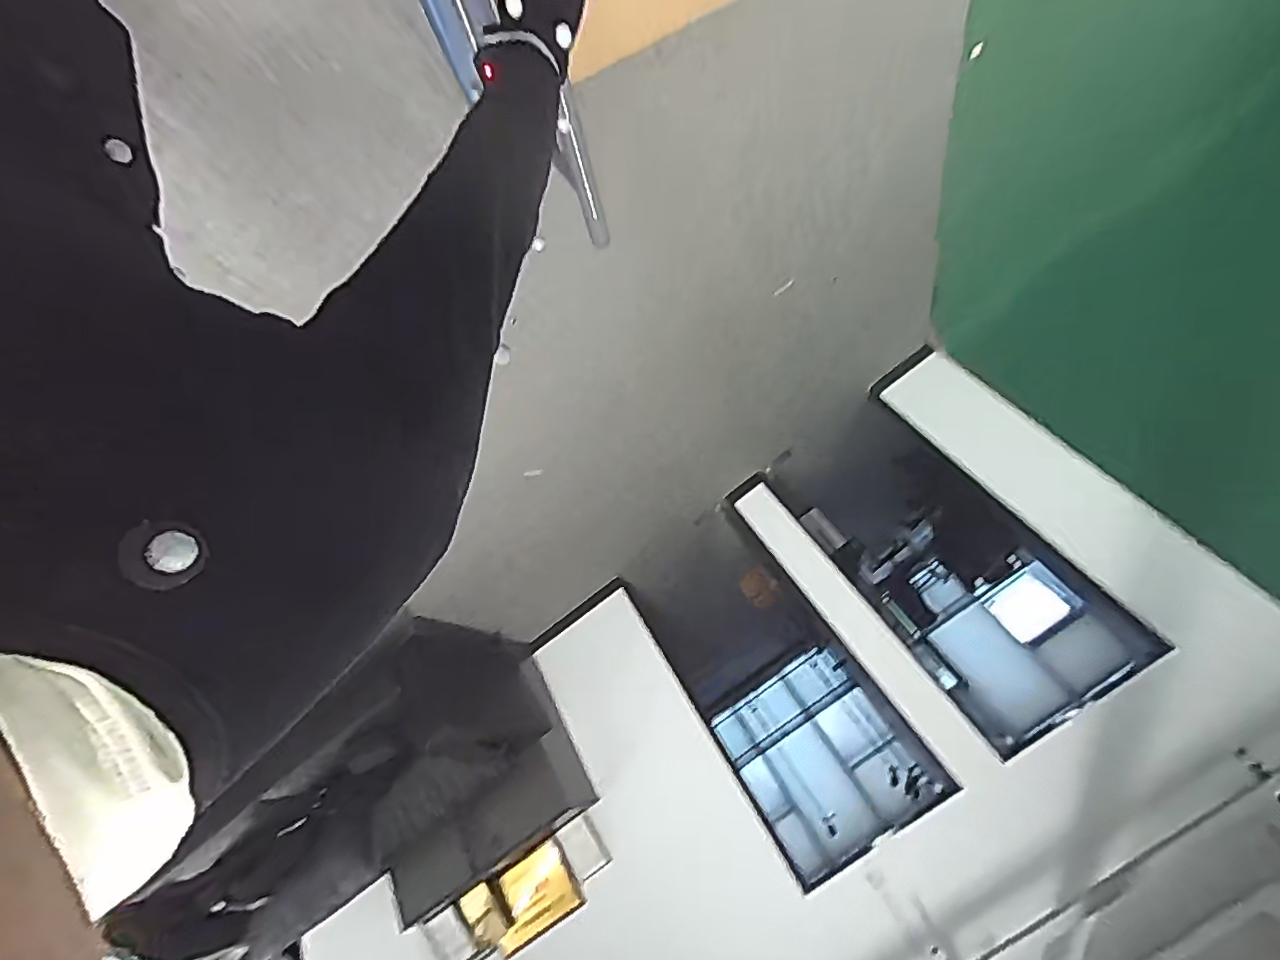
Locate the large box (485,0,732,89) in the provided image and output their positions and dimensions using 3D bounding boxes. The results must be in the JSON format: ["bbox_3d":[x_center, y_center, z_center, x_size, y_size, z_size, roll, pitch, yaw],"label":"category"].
[{"bbox_3d":[-0.081,-0.977,0.935,0.408,0.320,0.320,-32,150,-7],"label":"large box"}]
